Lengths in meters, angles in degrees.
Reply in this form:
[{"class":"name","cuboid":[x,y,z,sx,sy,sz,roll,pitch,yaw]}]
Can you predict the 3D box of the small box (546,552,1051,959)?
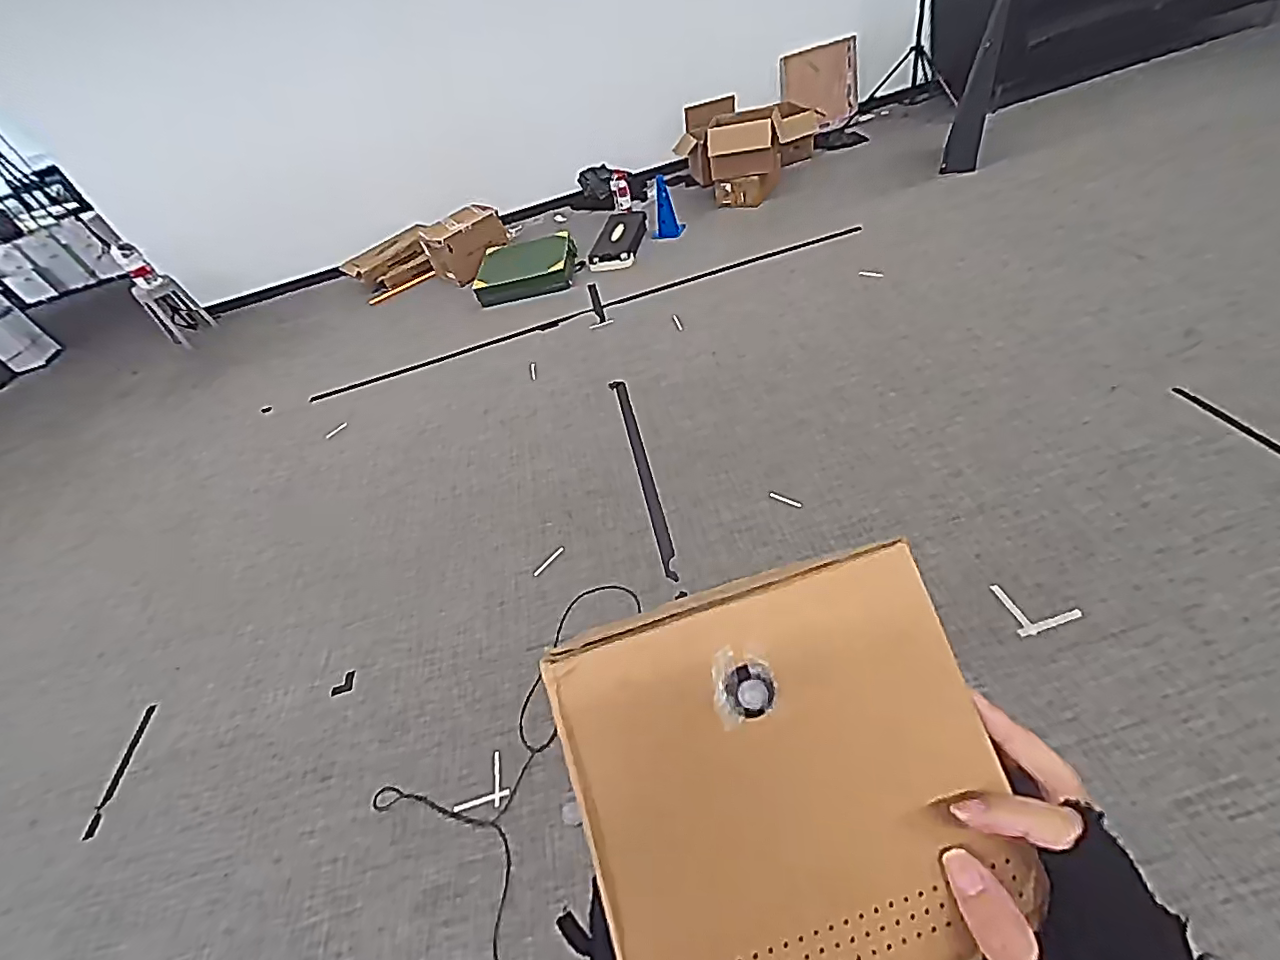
[{"class":"small box","cuboid":[0.066,0.153,0.301,0.179,0.168,0.176,-17,78,-4]}]
